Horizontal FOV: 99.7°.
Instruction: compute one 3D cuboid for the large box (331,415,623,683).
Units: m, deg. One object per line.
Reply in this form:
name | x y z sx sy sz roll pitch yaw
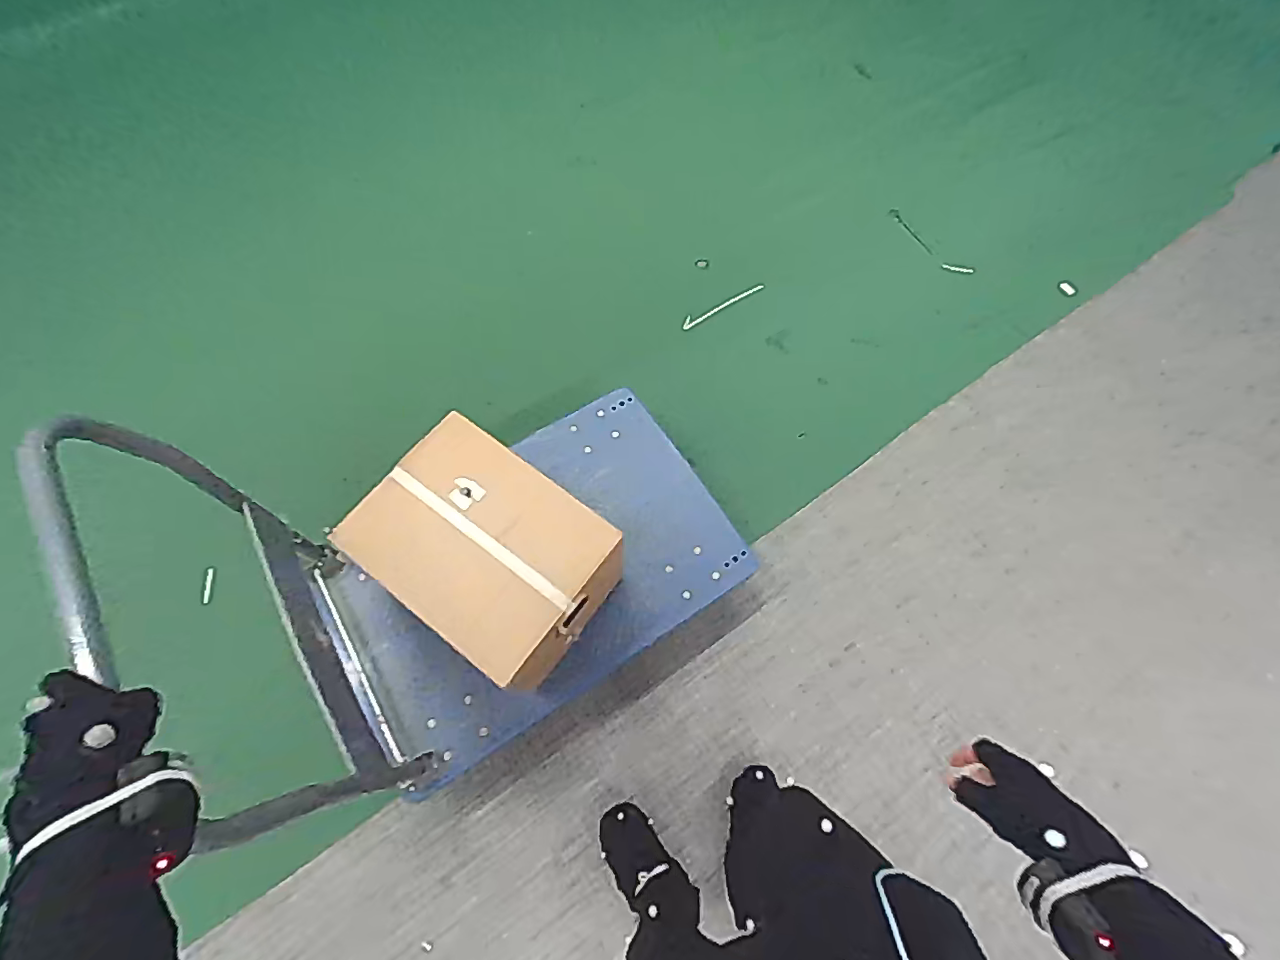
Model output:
large box | -0.282 0.151 1.067 0.408 0.320 0.320 35 71 13
